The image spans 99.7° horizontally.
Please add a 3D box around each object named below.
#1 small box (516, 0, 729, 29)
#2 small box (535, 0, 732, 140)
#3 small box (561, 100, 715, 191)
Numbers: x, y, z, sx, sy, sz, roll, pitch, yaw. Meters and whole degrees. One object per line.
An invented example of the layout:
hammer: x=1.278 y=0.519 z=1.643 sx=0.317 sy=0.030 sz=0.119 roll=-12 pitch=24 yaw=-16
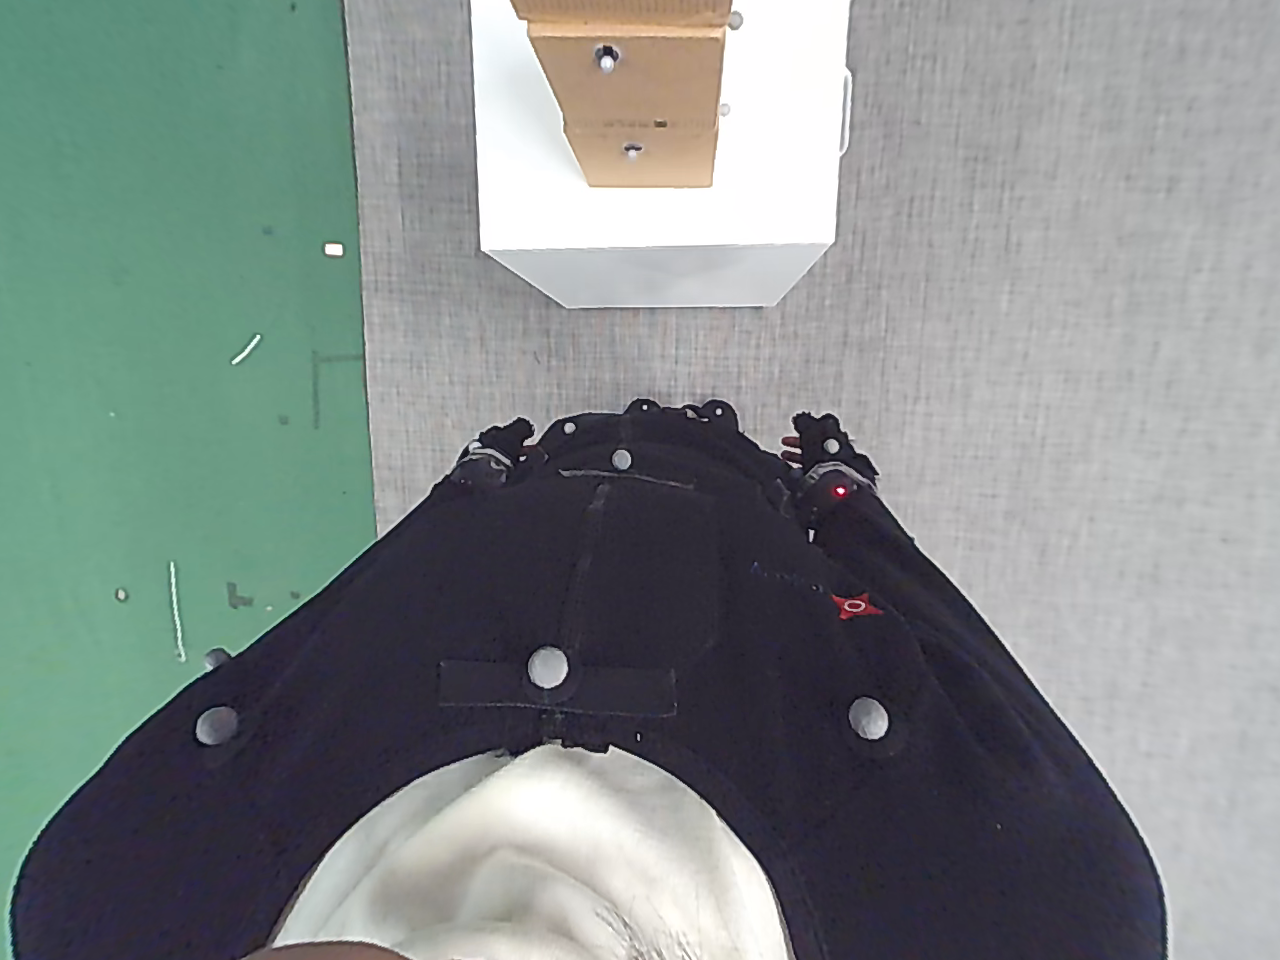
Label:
small box: x=-0.018 y=-0.439 z=0.354 sx=0.179 sy=0.176 sz=0.168 roll=5 pitch=101 yaw=4
small box: x=0.000 y=-0.458 z=0.517 sx=0.168 sy=0.176 sz=0.179 roll=1 pitch=99 yaw=4
small box: x=0.008 y=-0.478 z=0.676 sx=0.179 sy=0.176 sz=0.168 roll=3 pitch=98 yaw=5
